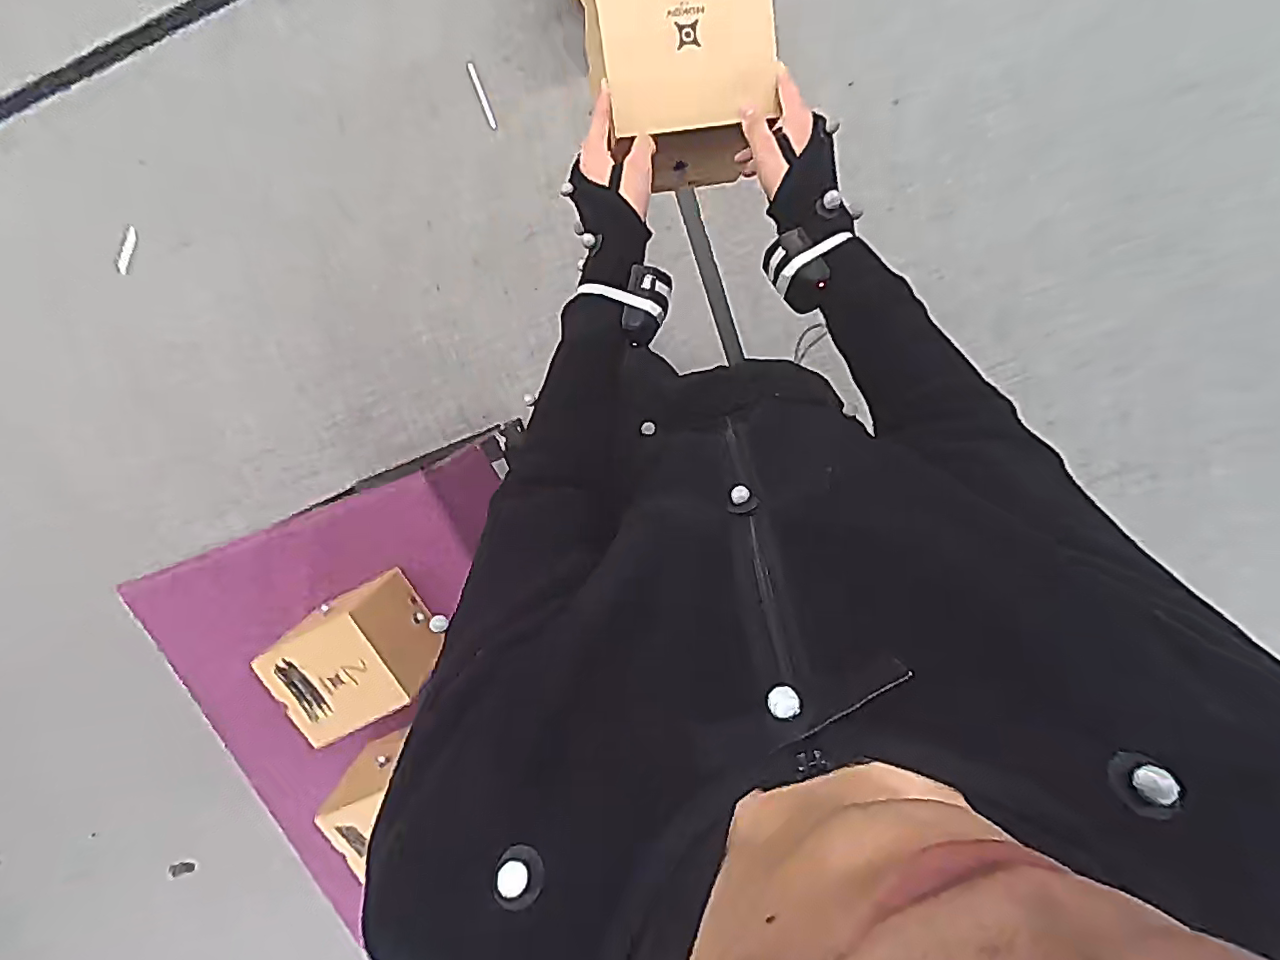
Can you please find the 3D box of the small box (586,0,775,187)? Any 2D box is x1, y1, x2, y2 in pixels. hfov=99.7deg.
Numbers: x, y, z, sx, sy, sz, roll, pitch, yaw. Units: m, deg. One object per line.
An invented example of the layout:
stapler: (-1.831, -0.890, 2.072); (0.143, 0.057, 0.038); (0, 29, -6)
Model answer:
small box: (0.035, -0.440, 0.587); (0.168, 0.176, 0.179); (-9, 99, -4)

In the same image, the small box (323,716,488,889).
small box: (-0.398, 0.558, 0.953); (0.179, 0.176, 0.168); (-26, 103, 6)
